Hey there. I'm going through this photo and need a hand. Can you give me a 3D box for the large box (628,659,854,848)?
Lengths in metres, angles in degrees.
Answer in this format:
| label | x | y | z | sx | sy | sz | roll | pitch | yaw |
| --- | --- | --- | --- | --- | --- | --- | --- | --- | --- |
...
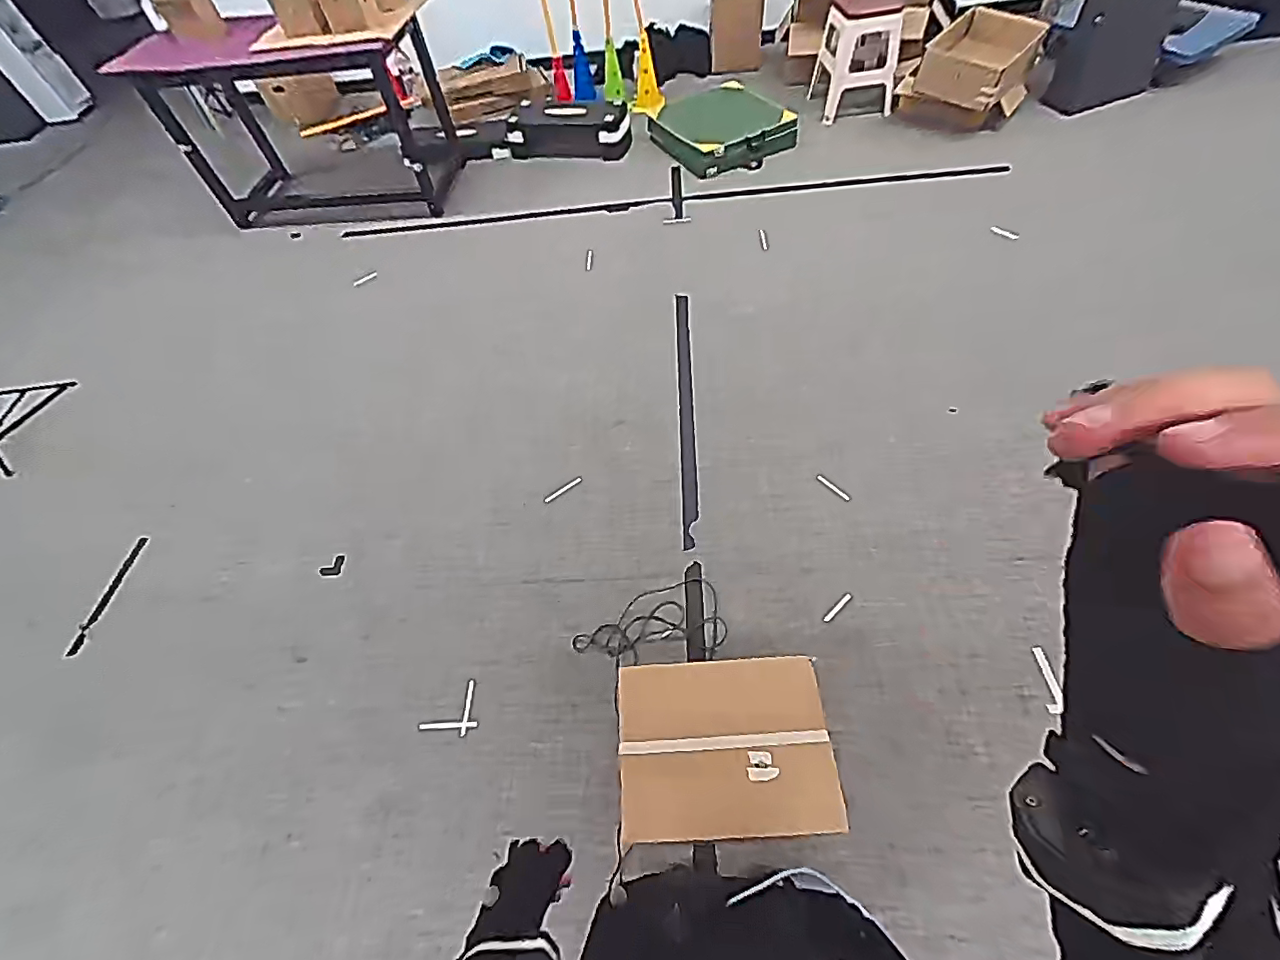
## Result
| label | x | y | z | sx | sy | sz | roll | pitch | yaw |
| --- | --- | --- | --- | --- | --- | --- | --- | --- | --- |
| large box | 0.188 | 0.599 | 1.171 | 0.408 | 0.320 | 0.320 | -4 | 55 | 2 |
